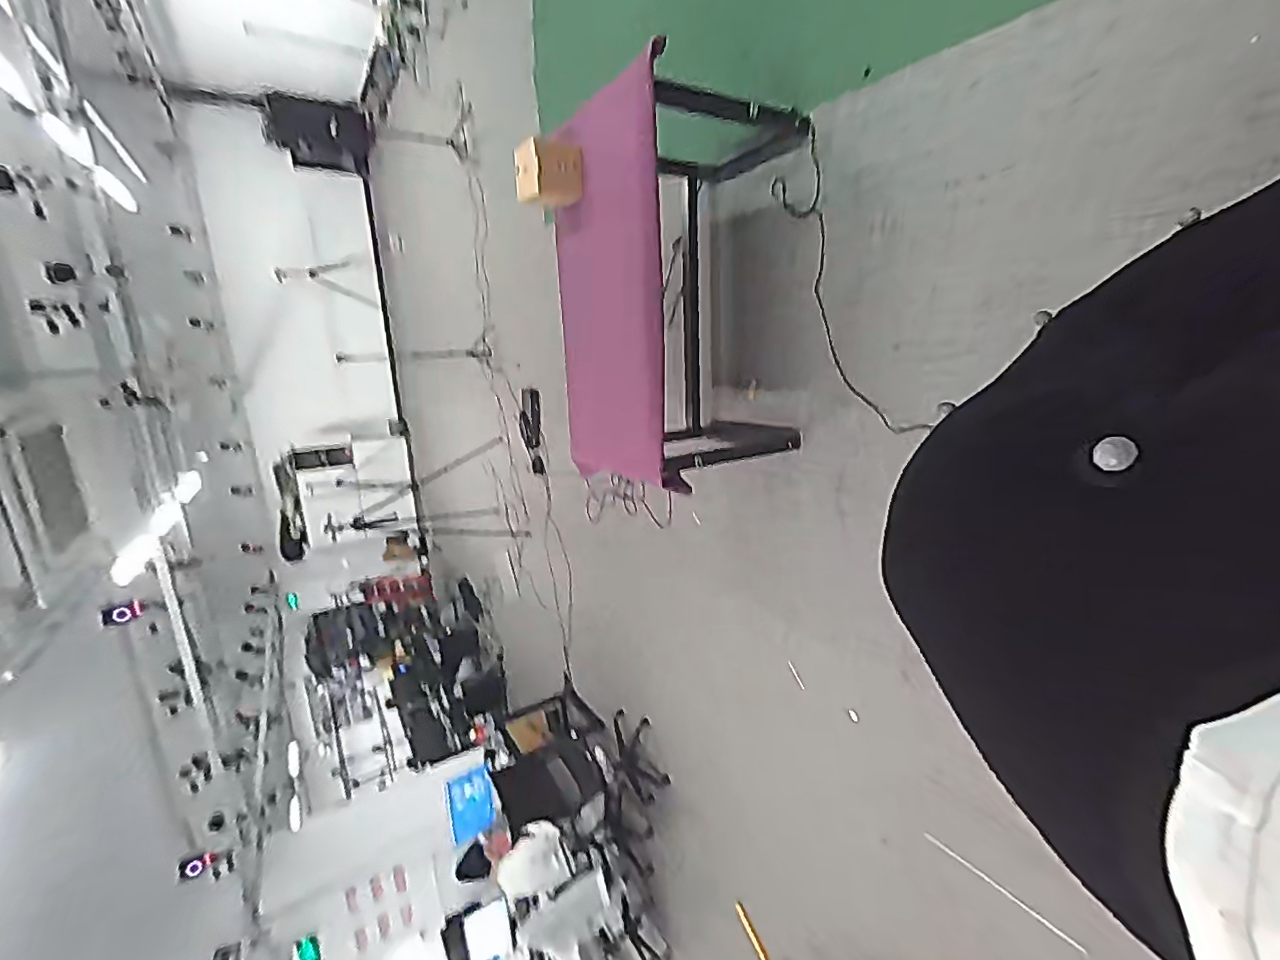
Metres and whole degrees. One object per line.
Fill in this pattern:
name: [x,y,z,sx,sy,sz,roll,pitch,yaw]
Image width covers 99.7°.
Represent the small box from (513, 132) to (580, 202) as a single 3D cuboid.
small box: [-0.315,-1.064,1.850,0.179,0.176,0.168,19,116,52]
